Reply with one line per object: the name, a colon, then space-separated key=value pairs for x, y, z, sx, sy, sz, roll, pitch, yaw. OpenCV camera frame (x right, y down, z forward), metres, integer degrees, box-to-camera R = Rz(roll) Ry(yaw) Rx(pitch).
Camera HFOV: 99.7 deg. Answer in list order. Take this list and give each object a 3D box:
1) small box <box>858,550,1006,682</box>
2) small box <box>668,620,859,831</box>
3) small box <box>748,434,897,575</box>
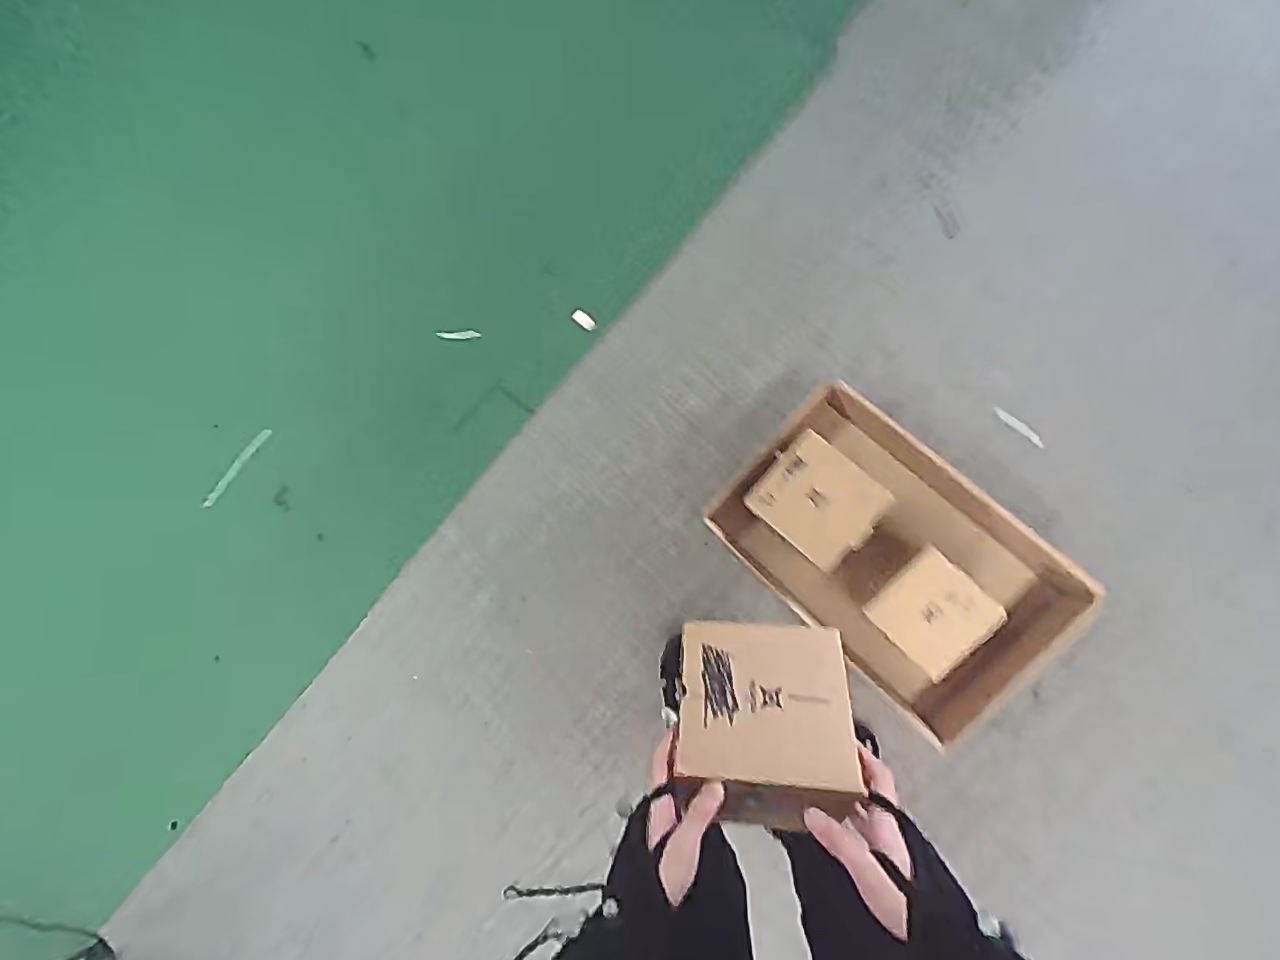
small box: x=0.545 y=0.253 z=1.043 sx=0.179 sy=0.176 sz=0.168 roll=-45 pitch=75 yaw=5
small box: x=0.129 y=0.275 z=0.607 sx=0.179 sy=0.176 sz=0.168 roll=1 pitch=46 yaw=8
small box: x=0.312 y=0.045 z=0.957 sx=0.179 sy=0.176 sz=0.168 roll=44 pitch=94 yaw=14
